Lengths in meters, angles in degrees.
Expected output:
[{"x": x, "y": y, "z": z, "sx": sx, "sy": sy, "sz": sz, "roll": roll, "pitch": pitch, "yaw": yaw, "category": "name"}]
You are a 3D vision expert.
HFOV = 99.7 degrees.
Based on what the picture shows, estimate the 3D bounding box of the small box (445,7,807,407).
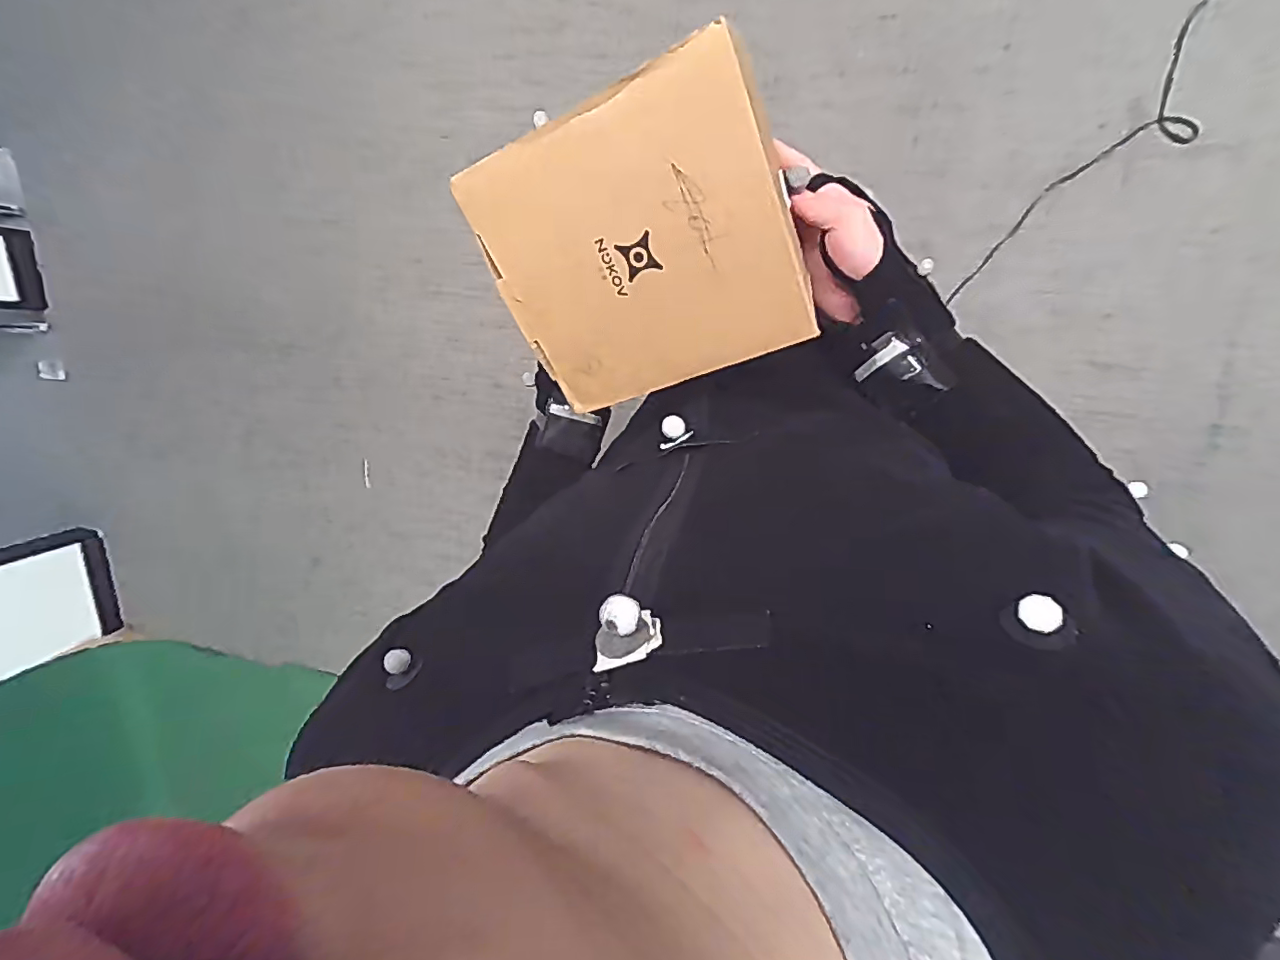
[{"x": 0.009, "y": -0.181, "z": 0.382, "sx": 0.179, "sy": 0.176, "sz": 0.168, "roll": -15, "pitch": 121, "yaw": 24, "category": "small box"}]
